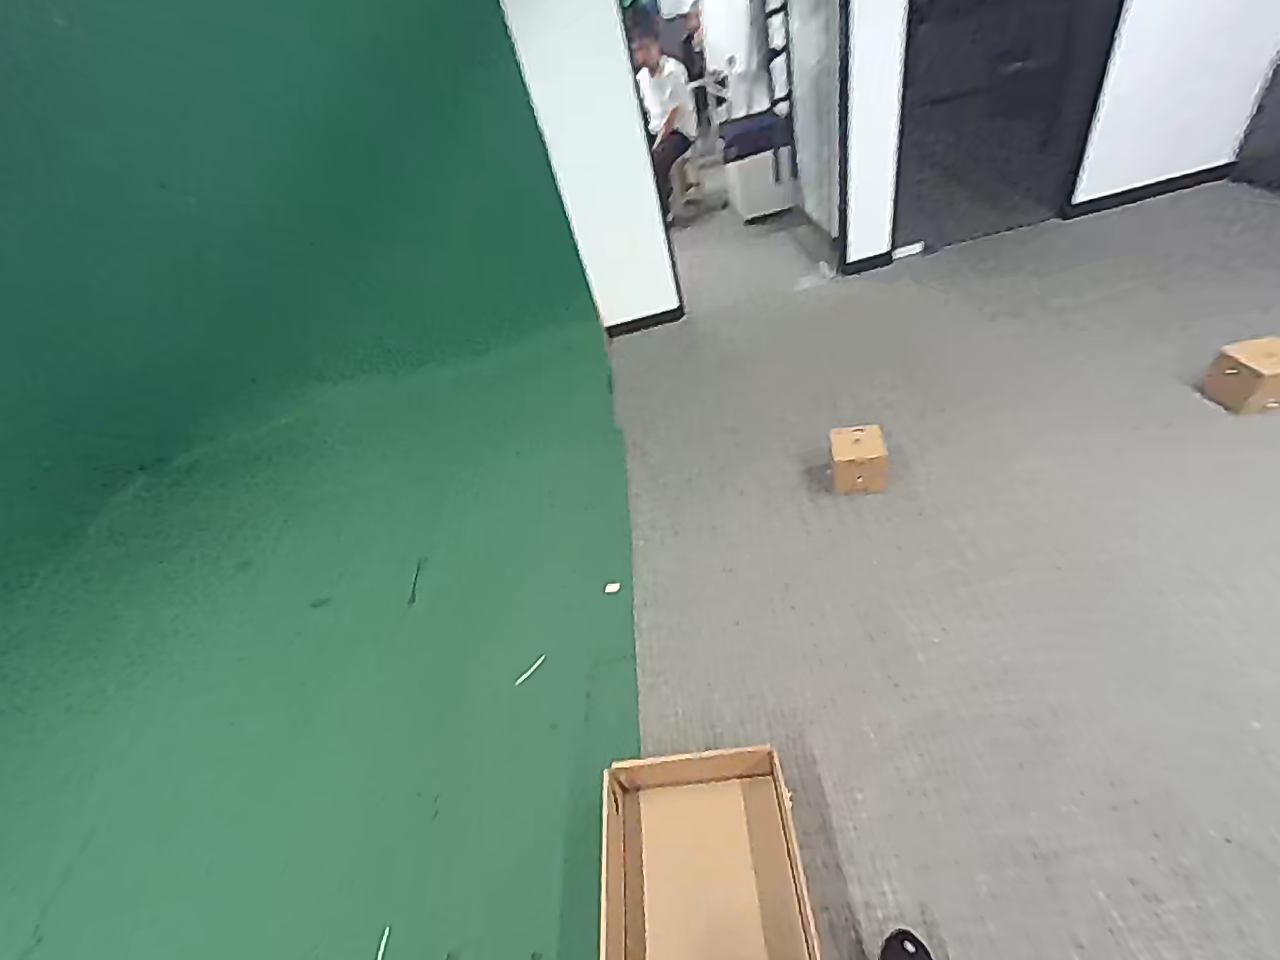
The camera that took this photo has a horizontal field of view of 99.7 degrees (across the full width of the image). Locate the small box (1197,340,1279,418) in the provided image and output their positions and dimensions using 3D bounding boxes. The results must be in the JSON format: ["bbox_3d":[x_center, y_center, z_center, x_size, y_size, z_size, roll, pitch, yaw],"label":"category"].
[{"bbox_3d":[2.010,-0.329,1.773,0.168,0.176,0.179,-13,42,7],"label":"small box"}]

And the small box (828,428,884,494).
[{"bbox_3d":[0.763,-0.061,1.915,0.168,0.176,0.179,-4,43,16],"label":"small box"}]
